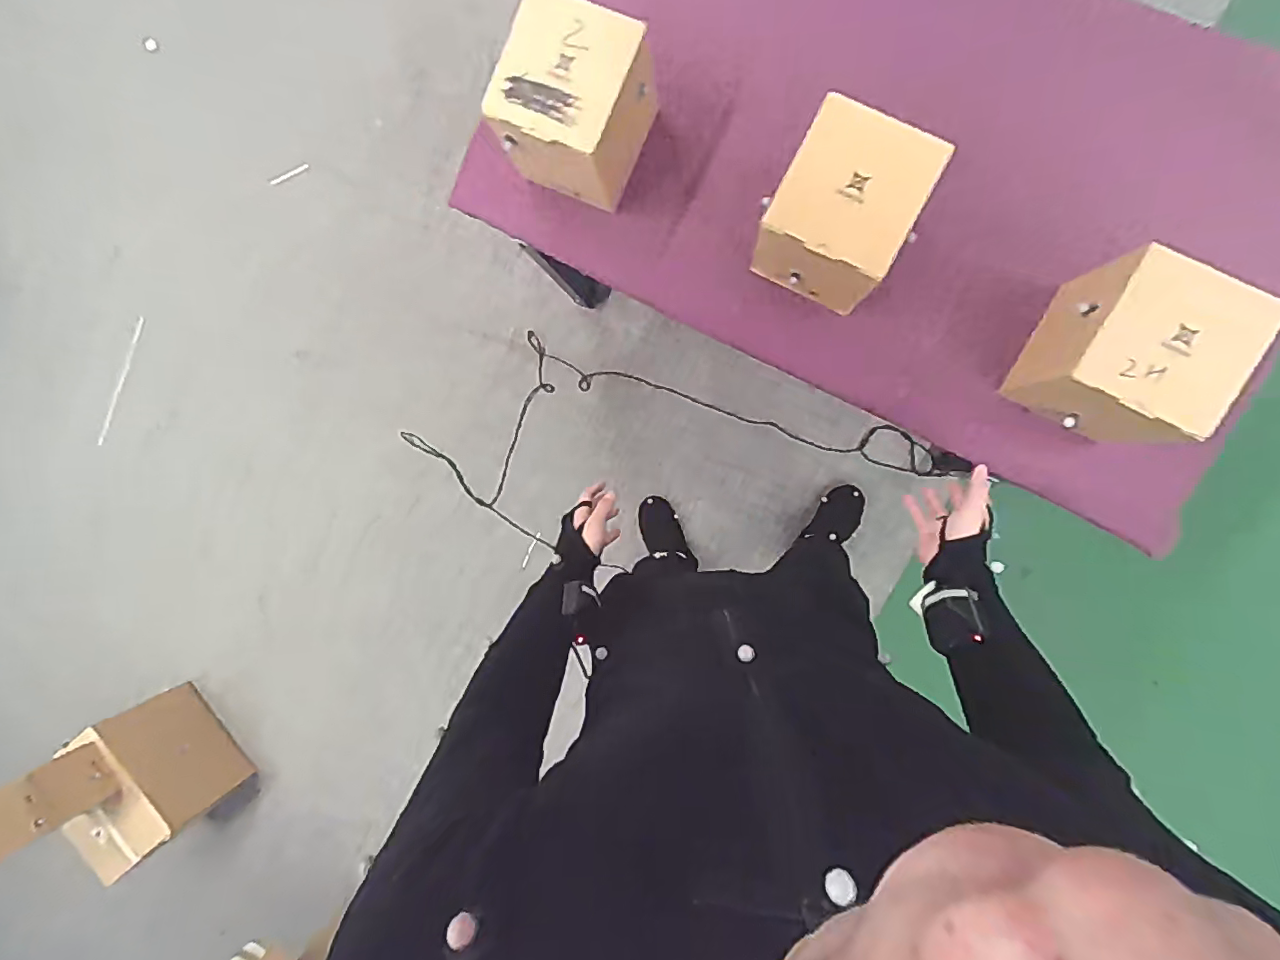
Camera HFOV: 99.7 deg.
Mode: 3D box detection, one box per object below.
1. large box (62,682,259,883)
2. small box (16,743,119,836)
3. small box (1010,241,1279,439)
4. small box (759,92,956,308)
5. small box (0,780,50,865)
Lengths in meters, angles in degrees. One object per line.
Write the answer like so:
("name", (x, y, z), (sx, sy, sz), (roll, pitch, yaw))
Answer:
("large box", (-1.572, 0.953, 1.747), (0.320, 0.320, 0.408), (-40, 90, 9))
("small box", (-1.628, 0.878, 1.501), (0.179, 0.176, 0.168), (-33, 90, 7))
("small box", (0.632, -0.166, 0.700), (0.168, 0.176, 0.179), (29, 97, 6))
("small box", (0.275, -0.363, 0.735), (0.168, 0.176, 0.179), (28, 97, 4))
("small box", (-1.639, 0.889, 1.338), (0.179, 0.176, 0.168), (-33, 91, 8))
